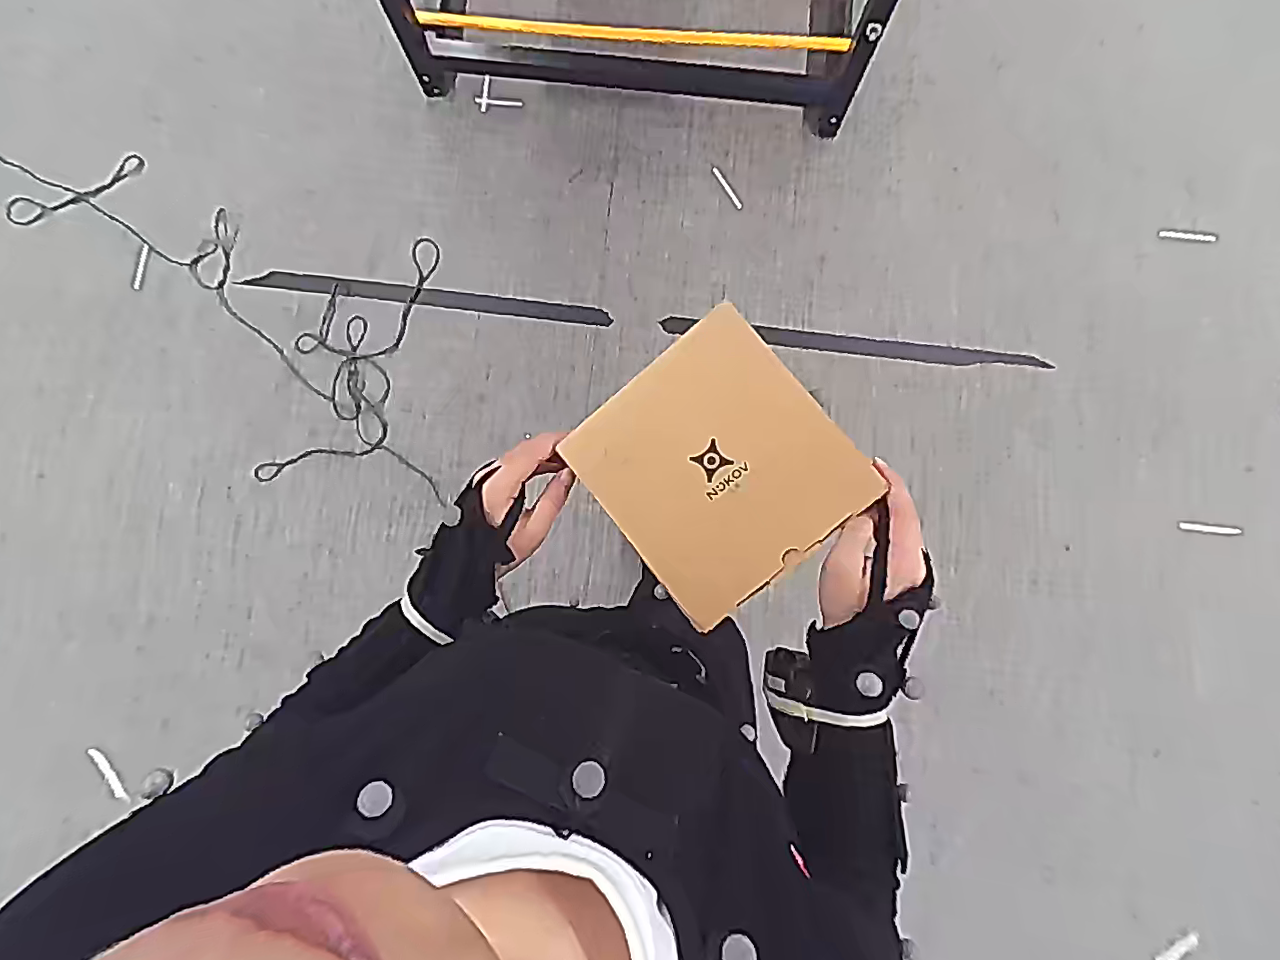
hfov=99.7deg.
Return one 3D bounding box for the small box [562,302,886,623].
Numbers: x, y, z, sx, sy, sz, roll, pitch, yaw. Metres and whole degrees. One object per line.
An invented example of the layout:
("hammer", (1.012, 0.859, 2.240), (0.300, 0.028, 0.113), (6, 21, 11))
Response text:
("small box", (0.065, -0.011, 0.464), (0.168, 0.176, 0.179), (-40, 85, 6))
